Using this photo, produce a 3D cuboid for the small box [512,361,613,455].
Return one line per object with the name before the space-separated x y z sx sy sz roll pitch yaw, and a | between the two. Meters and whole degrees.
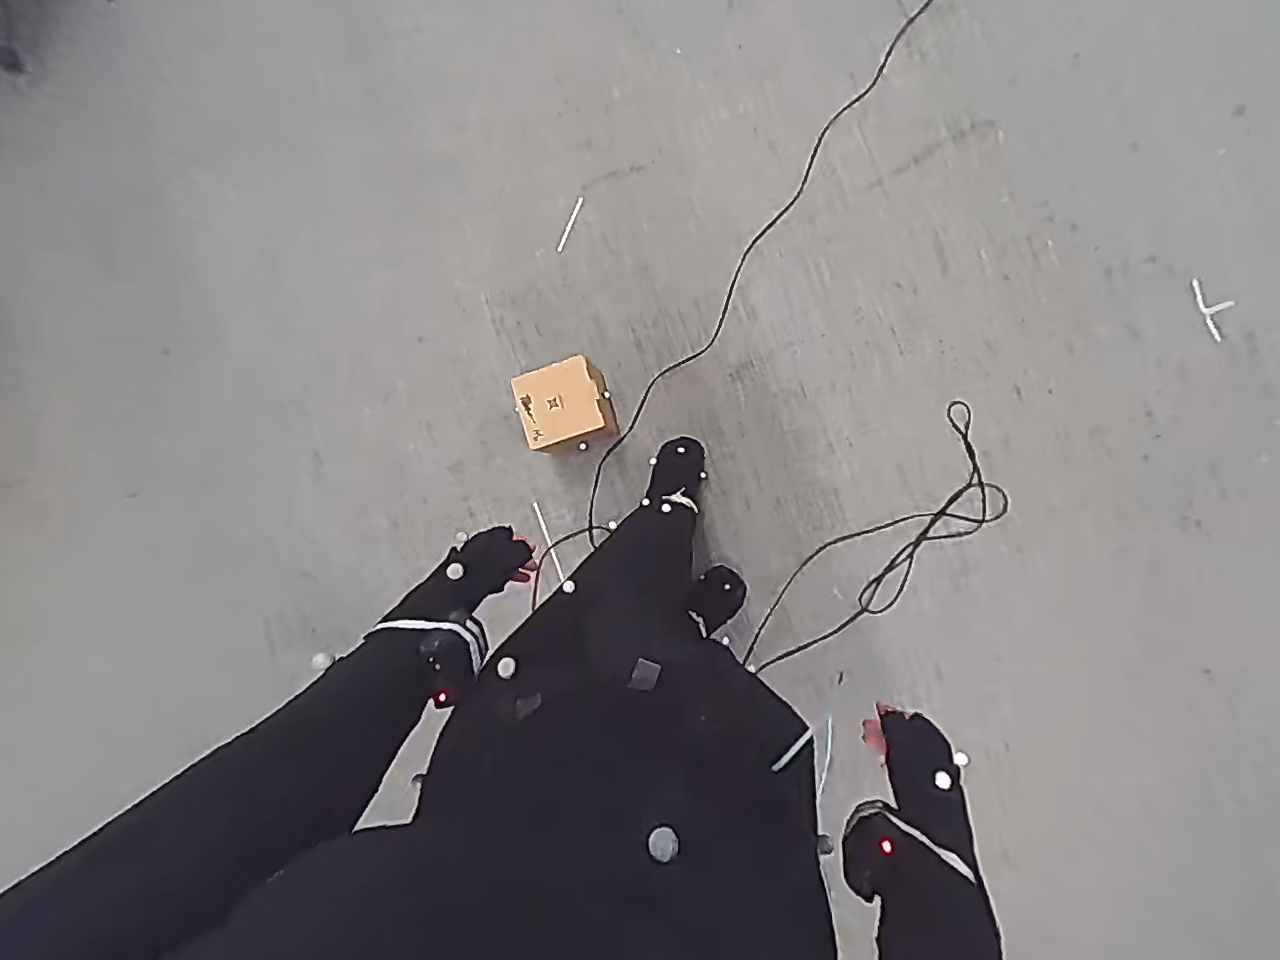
small box | -0.167 -0.158 1.244 0.179 0.176 0.168 -17 88 7
